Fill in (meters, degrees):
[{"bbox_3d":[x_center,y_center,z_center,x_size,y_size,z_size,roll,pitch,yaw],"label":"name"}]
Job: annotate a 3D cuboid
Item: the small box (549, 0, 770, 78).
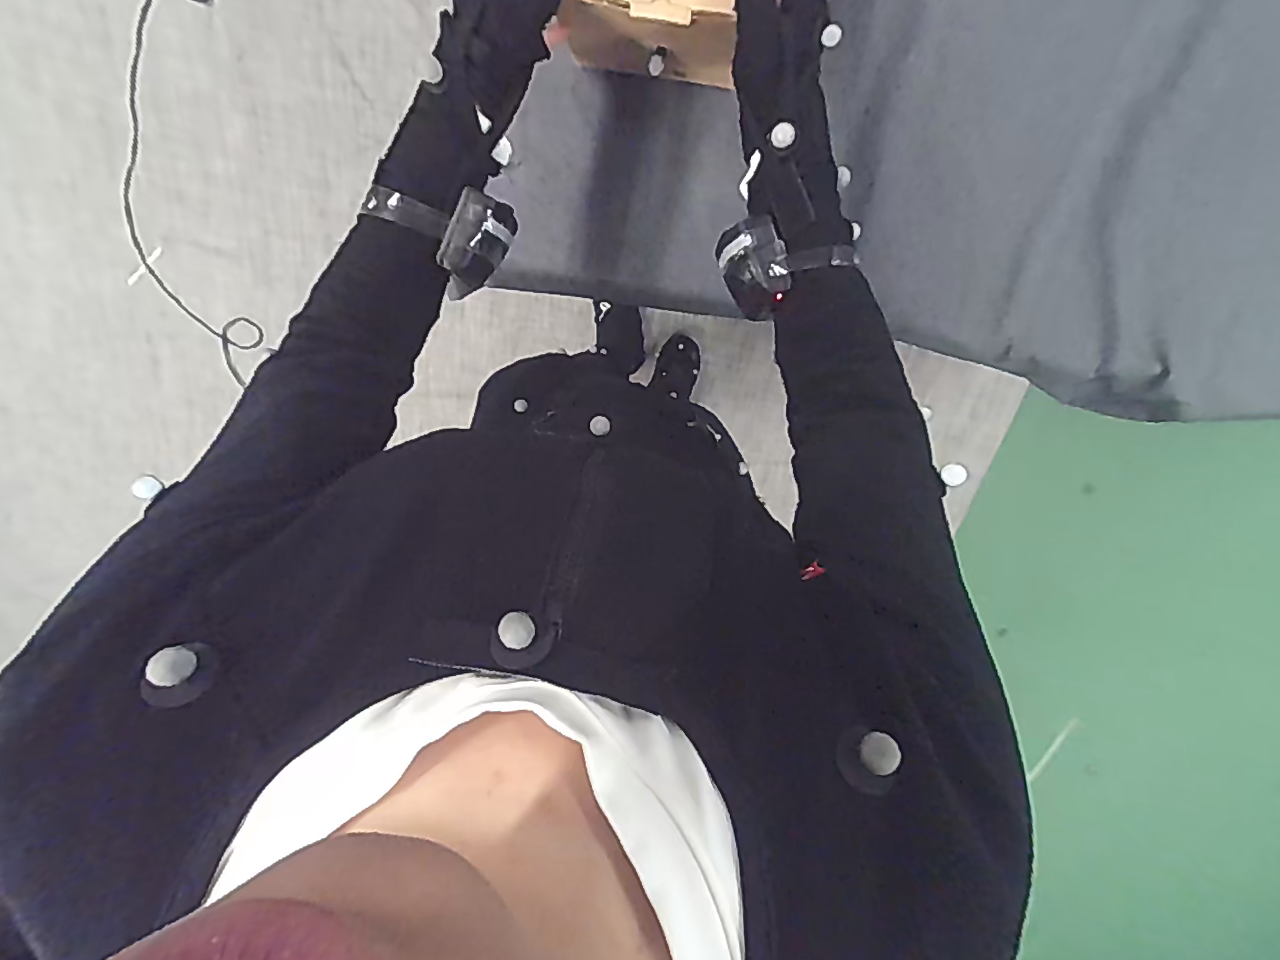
[{"bbox_3d":[0.028,-0.449,0.429,0.168,0.176,0.179,7,114,0],"label":"small box"}]
